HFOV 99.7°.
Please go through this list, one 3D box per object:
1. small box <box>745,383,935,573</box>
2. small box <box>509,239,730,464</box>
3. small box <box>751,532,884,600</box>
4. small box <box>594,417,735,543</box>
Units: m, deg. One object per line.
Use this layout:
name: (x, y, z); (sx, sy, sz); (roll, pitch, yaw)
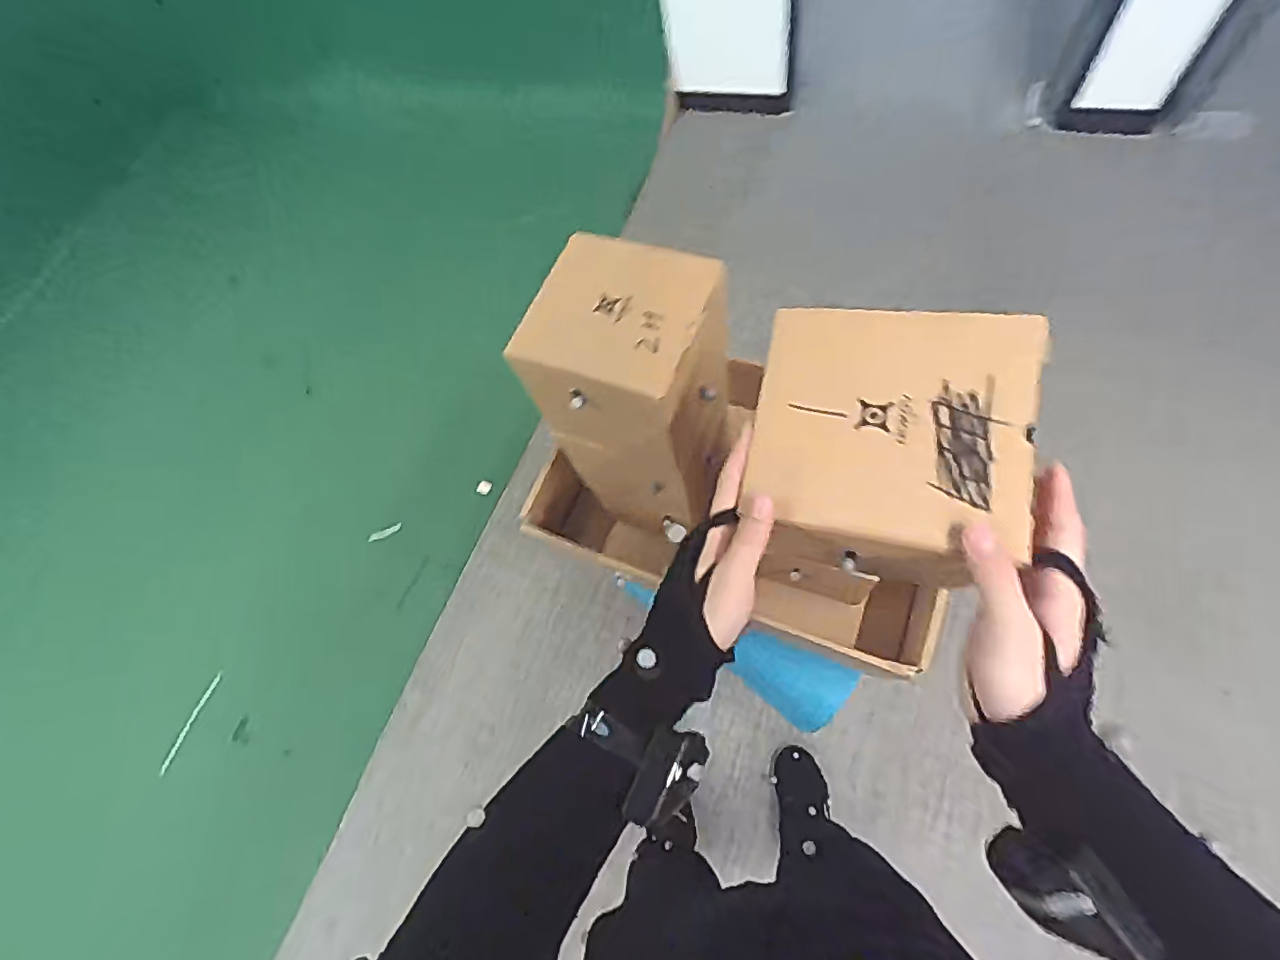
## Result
small box: (0.240, 0.004, 0.673); (0.179, 0.176, 0.168); (13, 71, 19)
small box: (-0.009, -0.137, 0.610); (0.179, 0.176, 0.168); (18, 73, 19)
small box: (0.278, 0.069, 0.818); (0.179, 0.176, 0.168); (14, 71, 20)
small box: (0.051, -0.009, 0.909); (0.179, 0.176, 0.168); (18, 72, 17)
